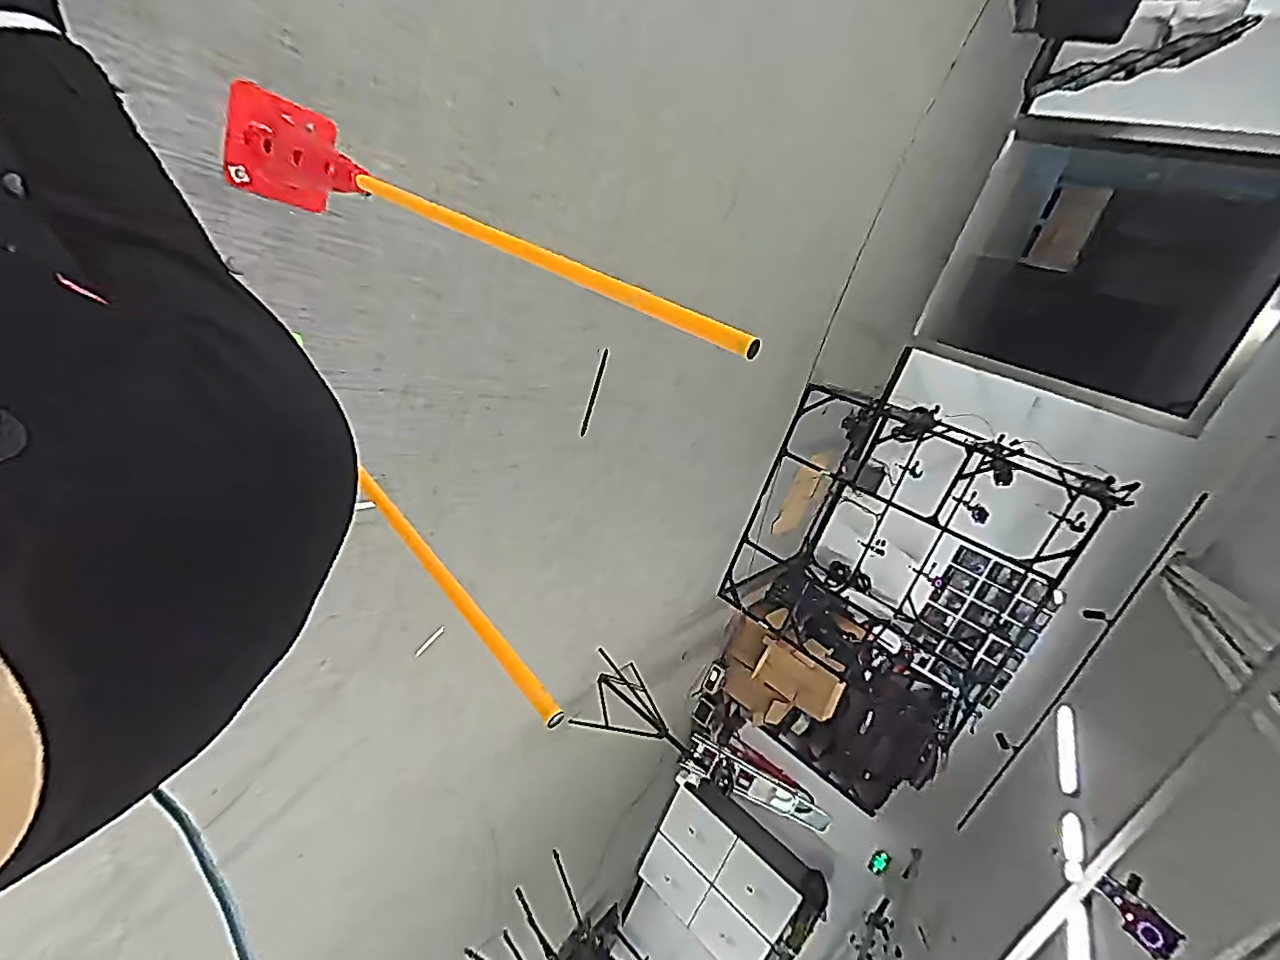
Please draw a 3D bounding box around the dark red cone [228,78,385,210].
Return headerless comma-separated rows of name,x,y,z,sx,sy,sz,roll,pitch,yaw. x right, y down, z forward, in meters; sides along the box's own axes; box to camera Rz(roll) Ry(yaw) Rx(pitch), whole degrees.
dark red cone,-0.628,-0.631,1.067,0.201,0.394,0.202,-9,124,-56
